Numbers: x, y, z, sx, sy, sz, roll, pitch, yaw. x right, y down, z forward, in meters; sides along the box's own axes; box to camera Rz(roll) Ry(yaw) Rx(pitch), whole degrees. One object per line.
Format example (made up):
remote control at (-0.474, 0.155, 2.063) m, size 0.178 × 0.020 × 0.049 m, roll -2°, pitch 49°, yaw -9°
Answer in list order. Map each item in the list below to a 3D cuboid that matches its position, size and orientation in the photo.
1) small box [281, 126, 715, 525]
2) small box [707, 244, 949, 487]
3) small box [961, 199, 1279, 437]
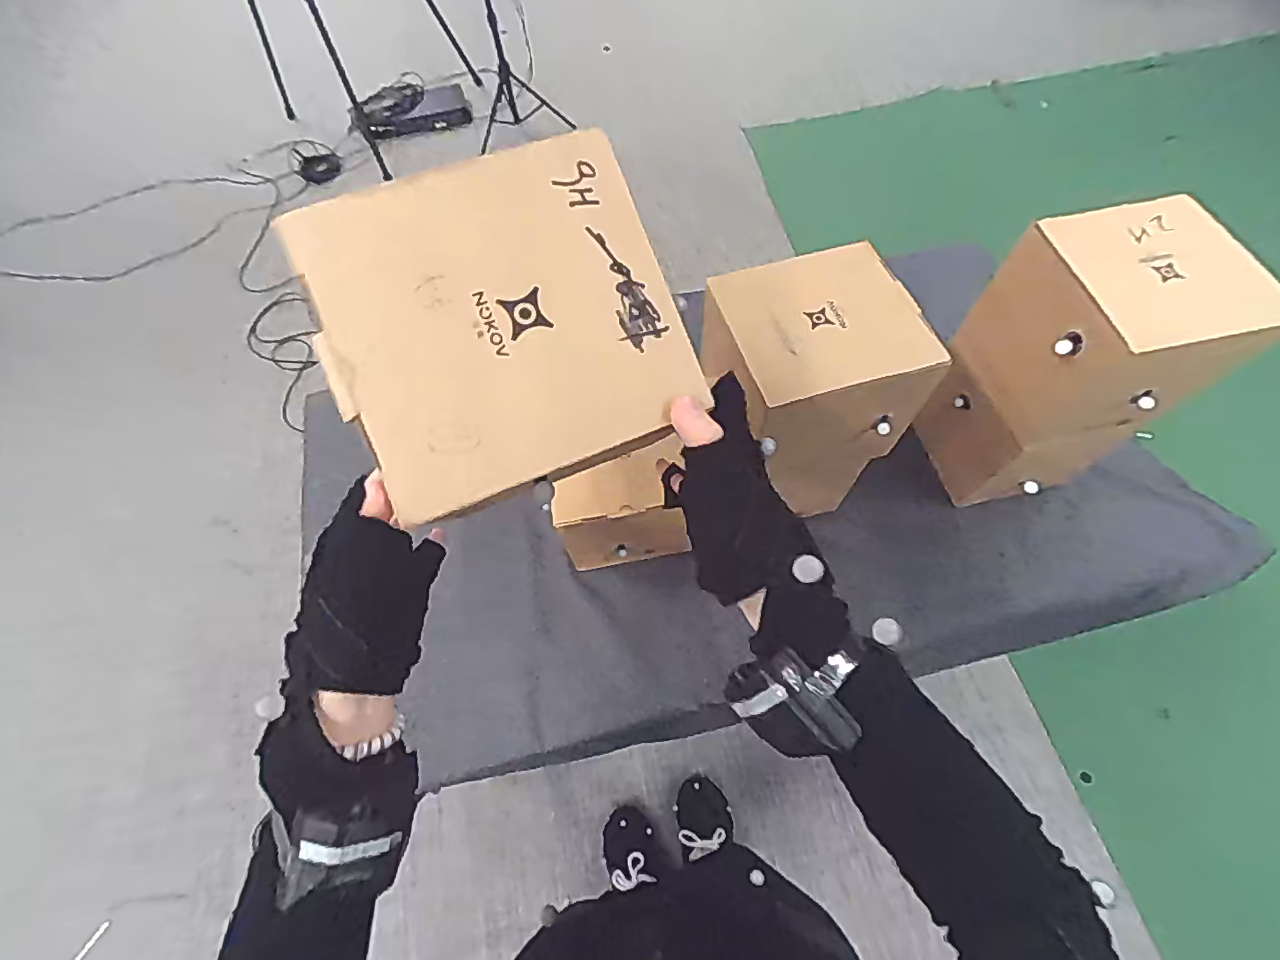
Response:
small box at (-0.079, -0.079, 0.355) m, size 0.179 × 0.176 × 0.168 m, roll -23°, pitch 92°, yaw -10°
small box at (0.177, -0.114, 0.579) m, size 0.179 × 0.176 × 0.168 m, roll -15°, pitch 62°, yaw -4°
small box at (0.494, -0.162, 0.584) m, size 0.168 × 0.176 × 0.179 m, roll -11°, pitch 63°, yaw -2°
